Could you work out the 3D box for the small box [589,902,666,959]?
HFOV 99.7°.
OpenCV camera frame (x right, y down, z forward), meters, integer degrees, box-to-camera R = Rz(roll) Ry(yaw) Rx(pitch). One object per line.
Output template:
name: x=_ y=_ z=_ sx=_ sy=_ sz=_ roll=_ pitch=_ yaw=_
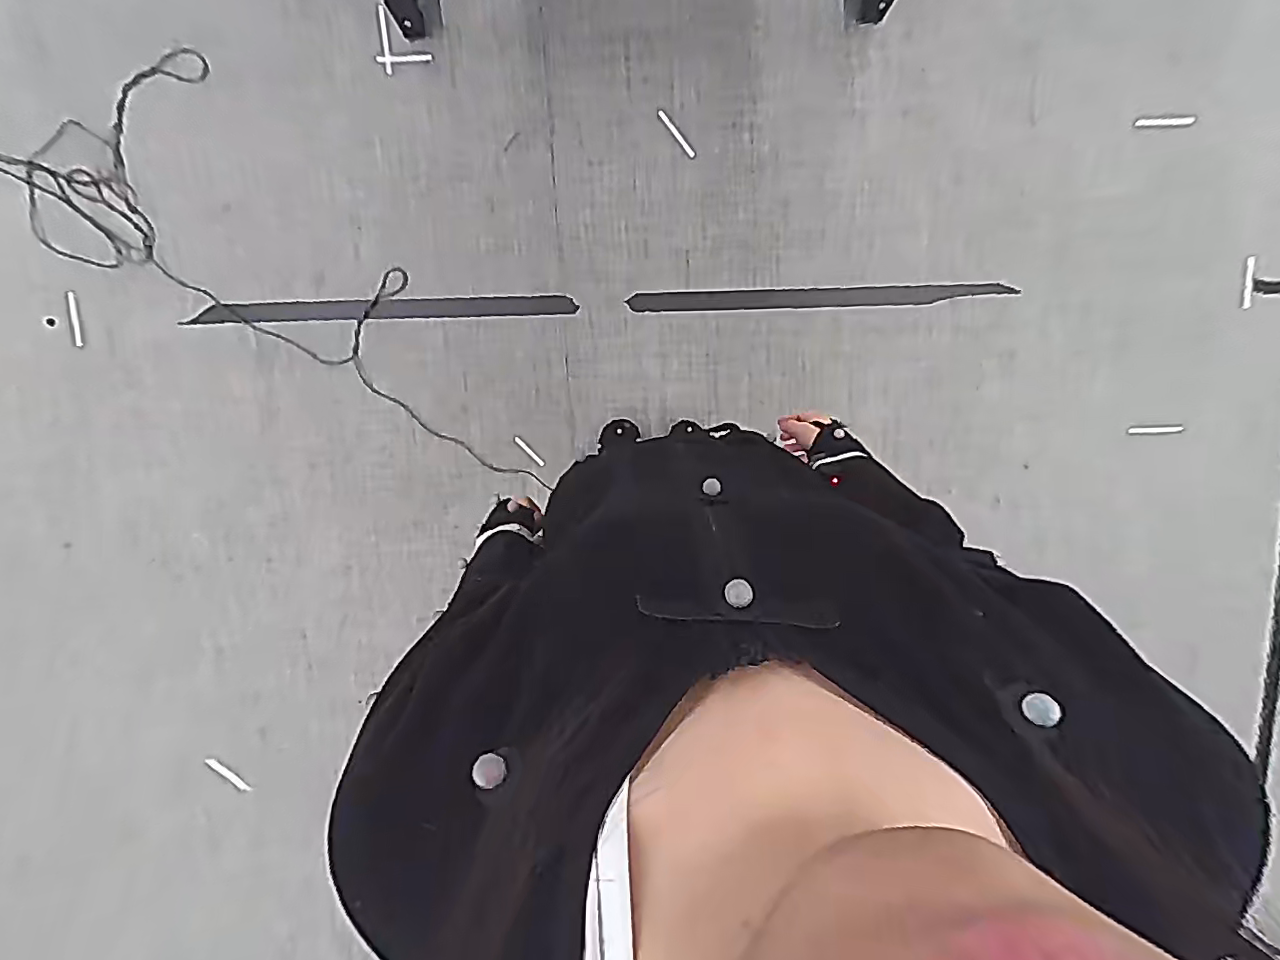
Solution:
small box: x=-0.027 y=1.134 z=1.268 sx=0.179 sy=0.176 sz=0.168 roll=-4 pitch=96 yaw=0
